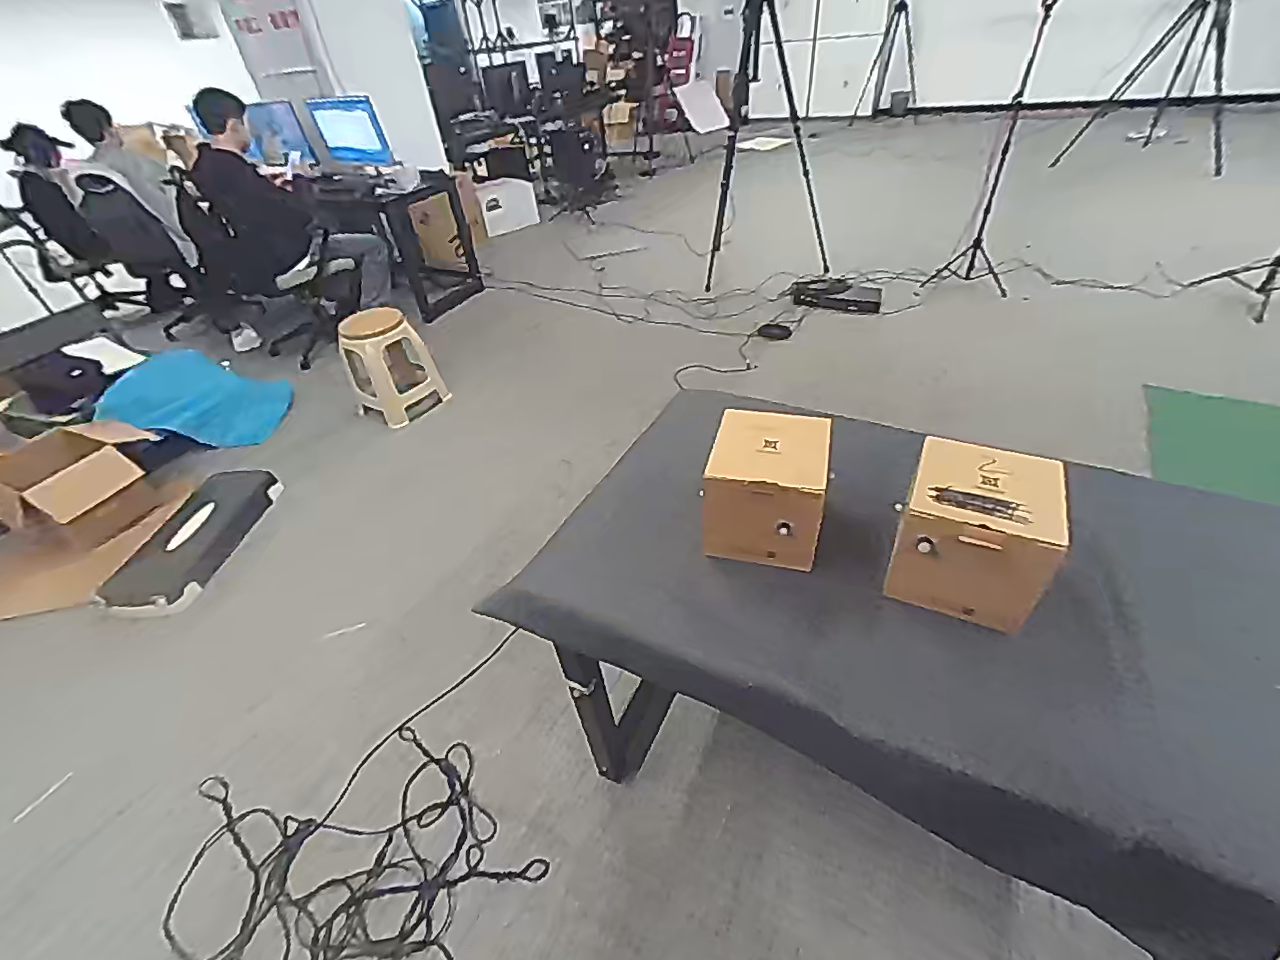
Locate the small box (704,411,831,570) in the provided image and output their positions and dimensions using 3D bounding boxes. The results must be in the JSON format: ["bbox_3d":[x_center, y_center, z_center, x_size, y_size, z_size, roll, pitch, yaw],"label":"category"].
[{"bbox_3d":[0.199,0.015,0.844,0.168,0.176,0.179,8,41,15],"label":"small box"}]
